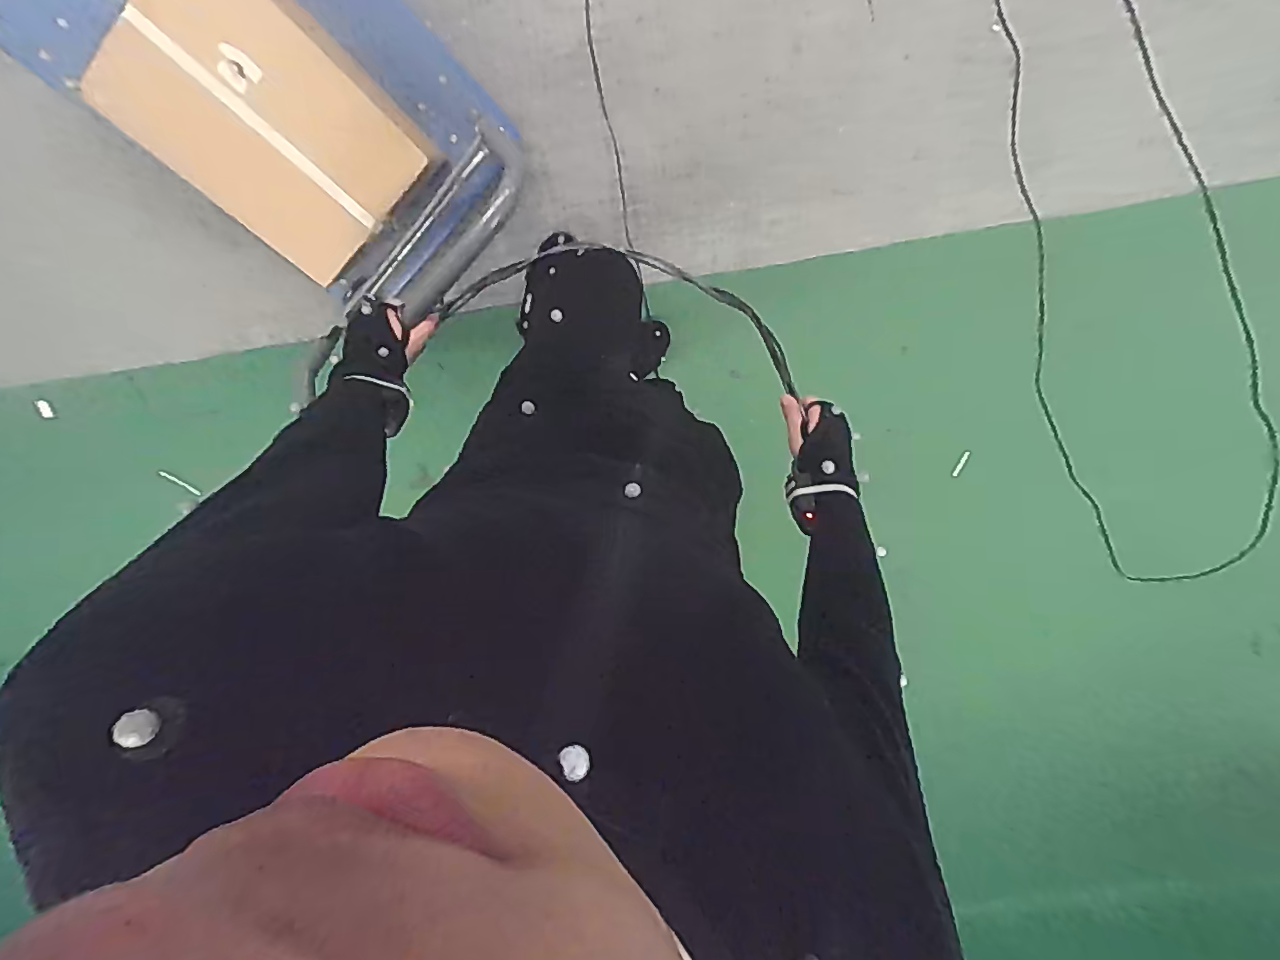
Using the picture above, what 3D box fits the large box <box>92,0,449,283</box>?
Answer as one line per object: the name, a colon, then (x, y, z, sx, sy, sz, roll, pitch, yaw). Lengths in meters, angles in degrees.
large box: (-0.634, -0.653, 1.018, 0.320, 0.320, 0.408, -42, 120, 13)
